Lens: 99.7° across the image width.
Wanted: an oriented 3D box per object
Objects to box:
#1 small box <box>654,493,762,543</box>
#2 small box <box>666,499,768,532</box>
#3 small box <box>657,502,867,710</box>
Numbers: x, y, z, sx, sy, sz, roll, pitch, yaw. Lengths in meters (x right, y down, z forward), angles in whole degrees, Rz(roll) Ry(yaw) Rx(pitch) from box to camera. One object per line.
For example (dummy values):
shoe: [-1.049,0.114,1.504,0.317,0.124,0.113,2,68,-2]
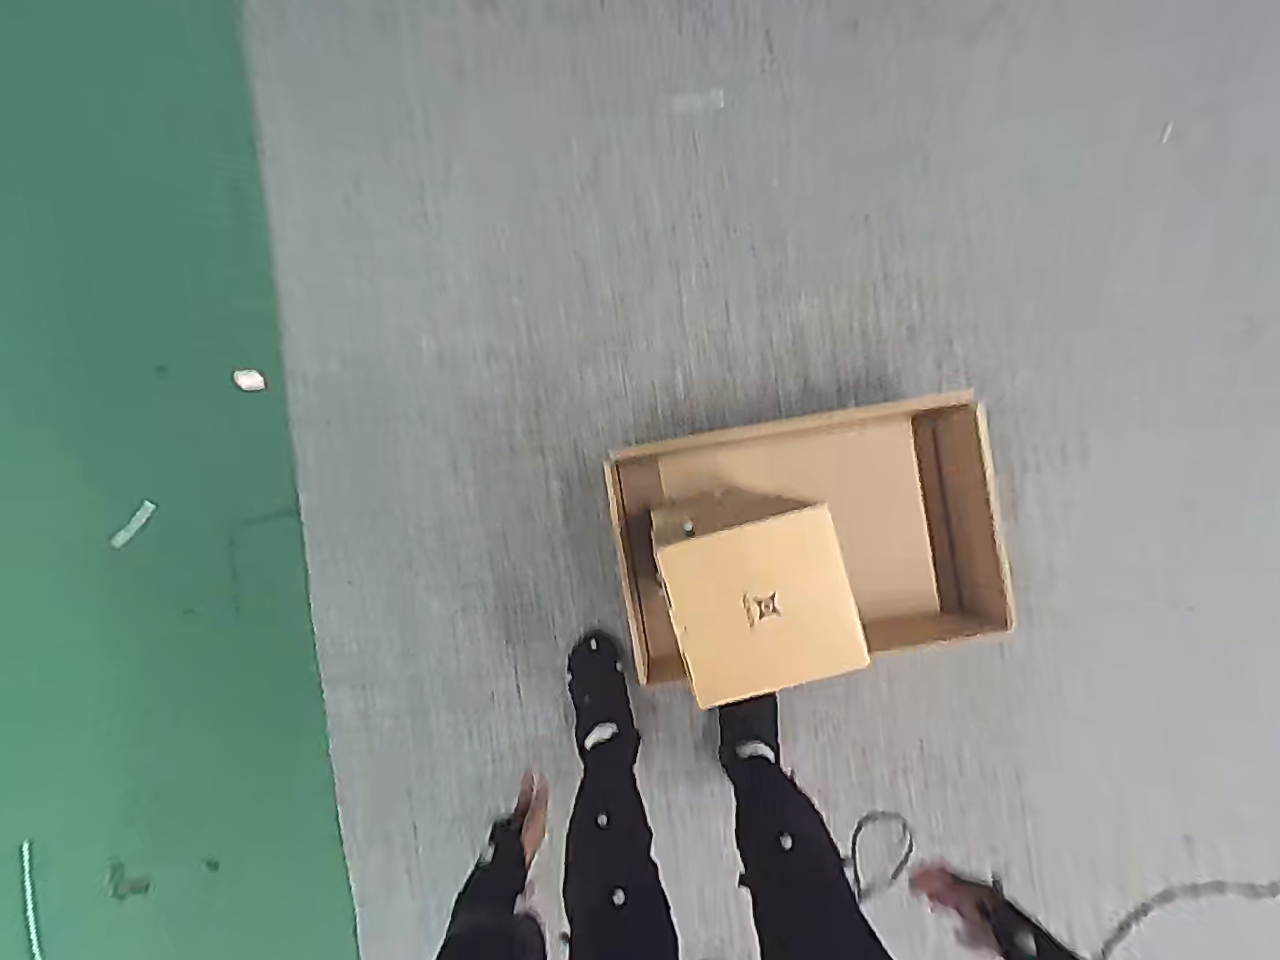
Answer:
small box: [0.124,0.119,0.936,0.179,0.176,0.168,-12,90,0]
small box: [0.130,0.127,0.772,0.168,0.176,0.179,-8,91,1]
small box: [0.121,0.126,0.610,0.179,0.176,0.168,-15,91,2]
